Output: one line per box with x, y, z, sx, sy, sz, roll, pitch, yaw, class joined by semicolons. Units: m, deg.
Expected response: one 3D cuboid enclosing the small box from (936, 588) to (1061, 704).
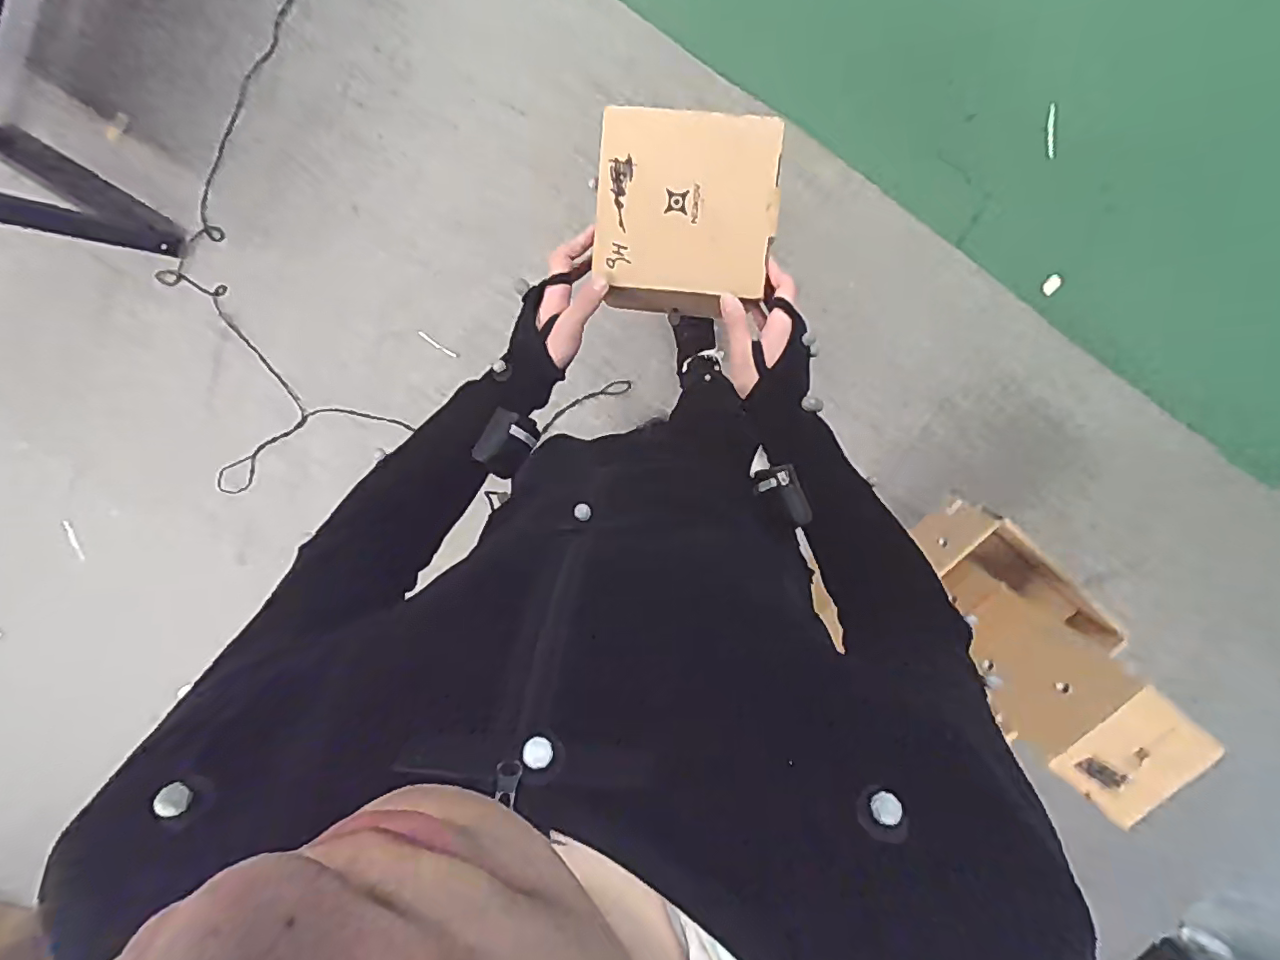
0.697;0.333;0.999;0.168;0.176;0.179;42;104;-6;small box

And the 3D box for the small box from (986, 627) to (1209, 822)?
0.683;0.369;0.840;0.168;0.176;0.179;40;103;-6;small box

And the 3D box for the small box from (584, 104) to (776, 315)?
0.040;-0.286;0.611;0.179;0.176;0.168;6;99;2;small box
